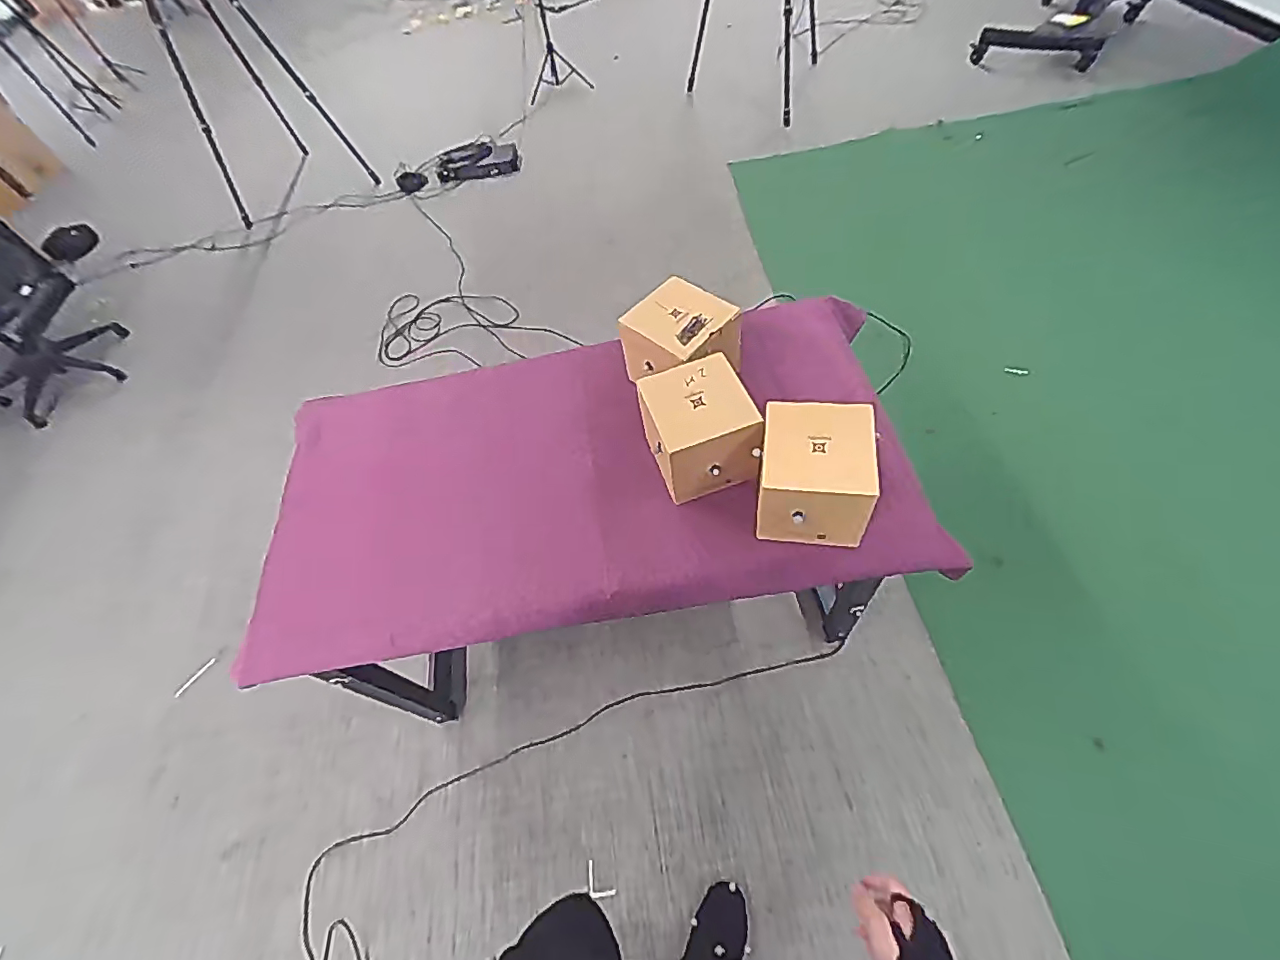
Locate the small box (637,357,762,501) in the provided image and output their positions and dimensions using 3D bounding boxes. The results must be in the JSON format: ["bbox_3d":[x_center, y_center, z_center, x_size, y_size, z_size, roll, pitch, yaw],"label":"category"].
[{"bbox_3d":[0.106,-0.082,0.967,0.168,0.176,0.179,-19,56,-4],"label":"small box"}]

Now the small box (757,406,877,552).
[{"bbox_3d":[0.283,0.002,0.885,0.168,0.176,0.179,4,56,12],"label":"small box"}]
